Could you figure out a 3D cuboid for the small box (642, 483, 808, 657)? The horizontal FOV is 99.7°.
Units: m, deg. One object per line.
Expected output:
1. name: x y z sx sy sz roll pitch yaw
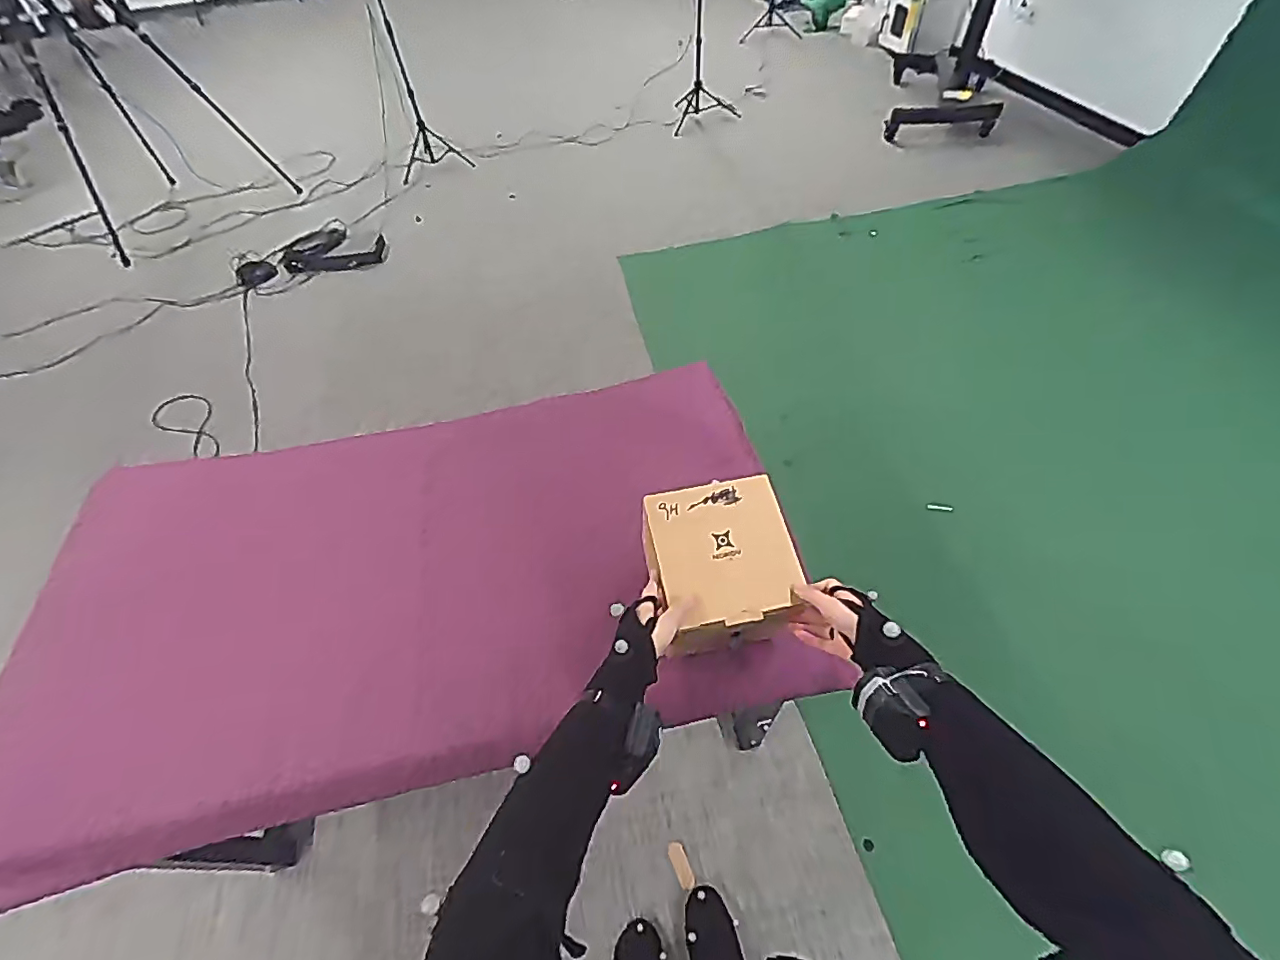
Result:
1. small box: 0.099 0.127 0.716 0.168 0.176 0.179 -10 63 -5
